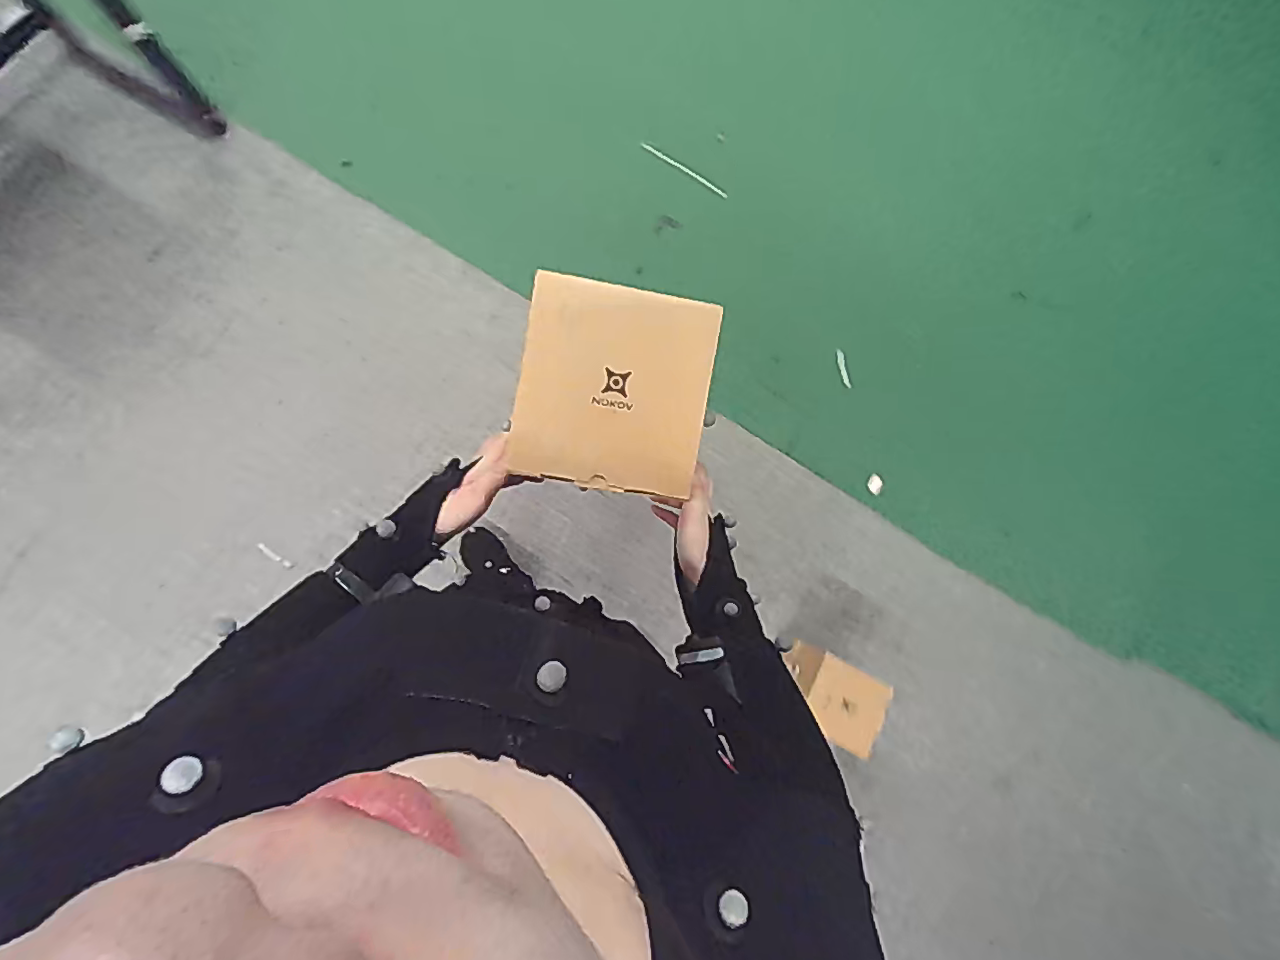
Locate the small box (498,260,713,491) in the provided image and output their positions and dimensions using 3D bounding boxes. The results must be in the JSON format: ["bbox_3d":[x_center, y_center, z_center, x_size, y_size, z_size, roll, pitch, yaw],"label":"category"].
[{"bbox_3d":[-0.036,-0.090,0.538,0.168,0.176,0.179,8,92,-6],"label":"small box"}]

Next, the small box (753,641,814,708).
[{"bbox_3d":[0.426,0.537,1.417,0.179,0.176,0.168,28,79,0],"label":"small box"}]

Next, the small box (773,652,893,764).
[{"bbox_3d":[0.441,0.517,1.257,0.179,0.176,0.168,28,79,1],"label":"small box"}]
